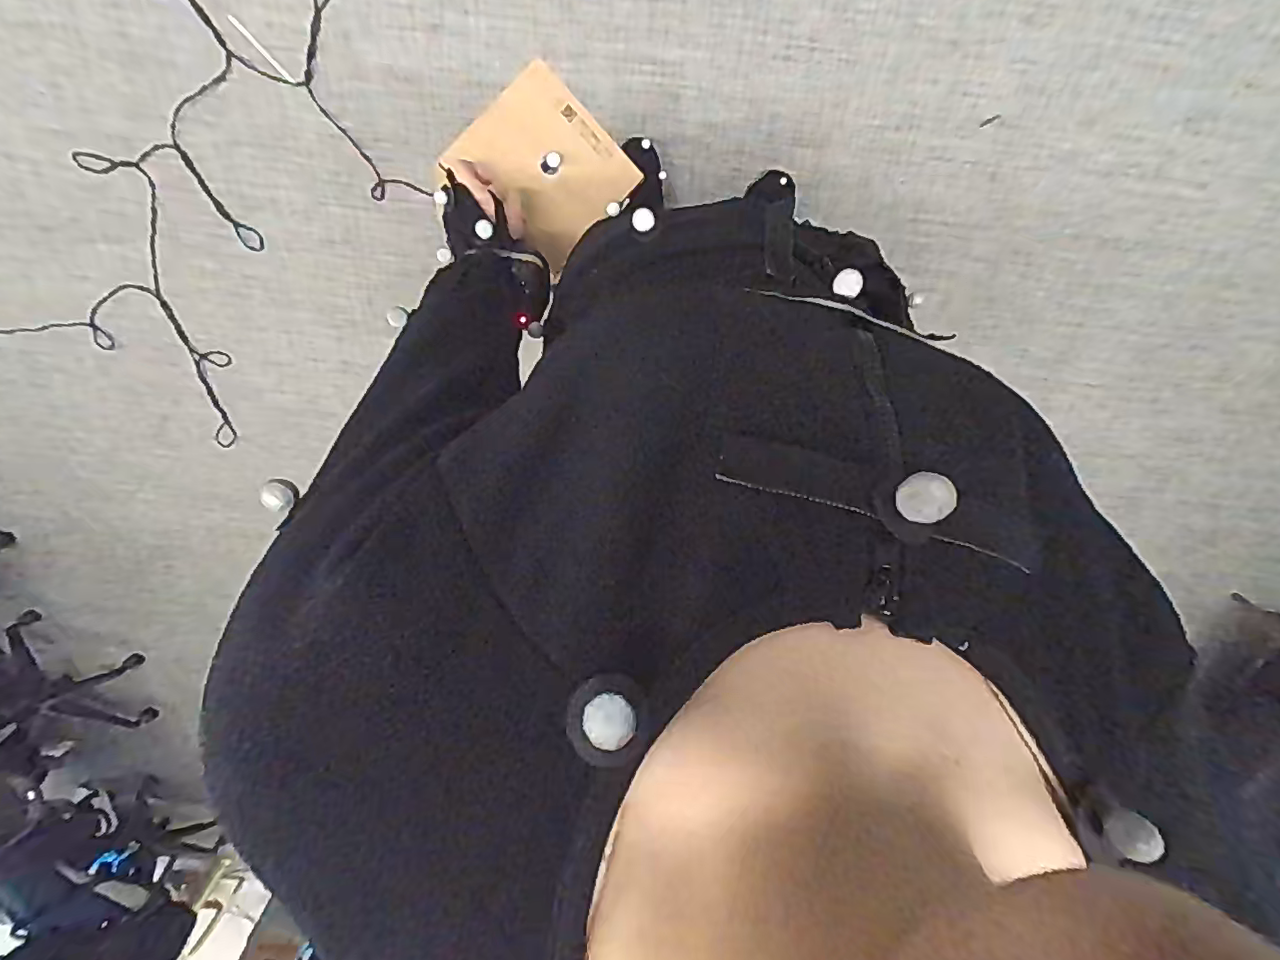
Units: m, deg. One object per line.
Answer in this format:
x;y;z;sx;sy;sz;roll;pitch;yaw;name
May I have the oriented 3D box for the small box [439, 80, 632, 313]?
-0.134;-0.347;0.688;0.168;0.179;0.176;39;81;-19;small box
